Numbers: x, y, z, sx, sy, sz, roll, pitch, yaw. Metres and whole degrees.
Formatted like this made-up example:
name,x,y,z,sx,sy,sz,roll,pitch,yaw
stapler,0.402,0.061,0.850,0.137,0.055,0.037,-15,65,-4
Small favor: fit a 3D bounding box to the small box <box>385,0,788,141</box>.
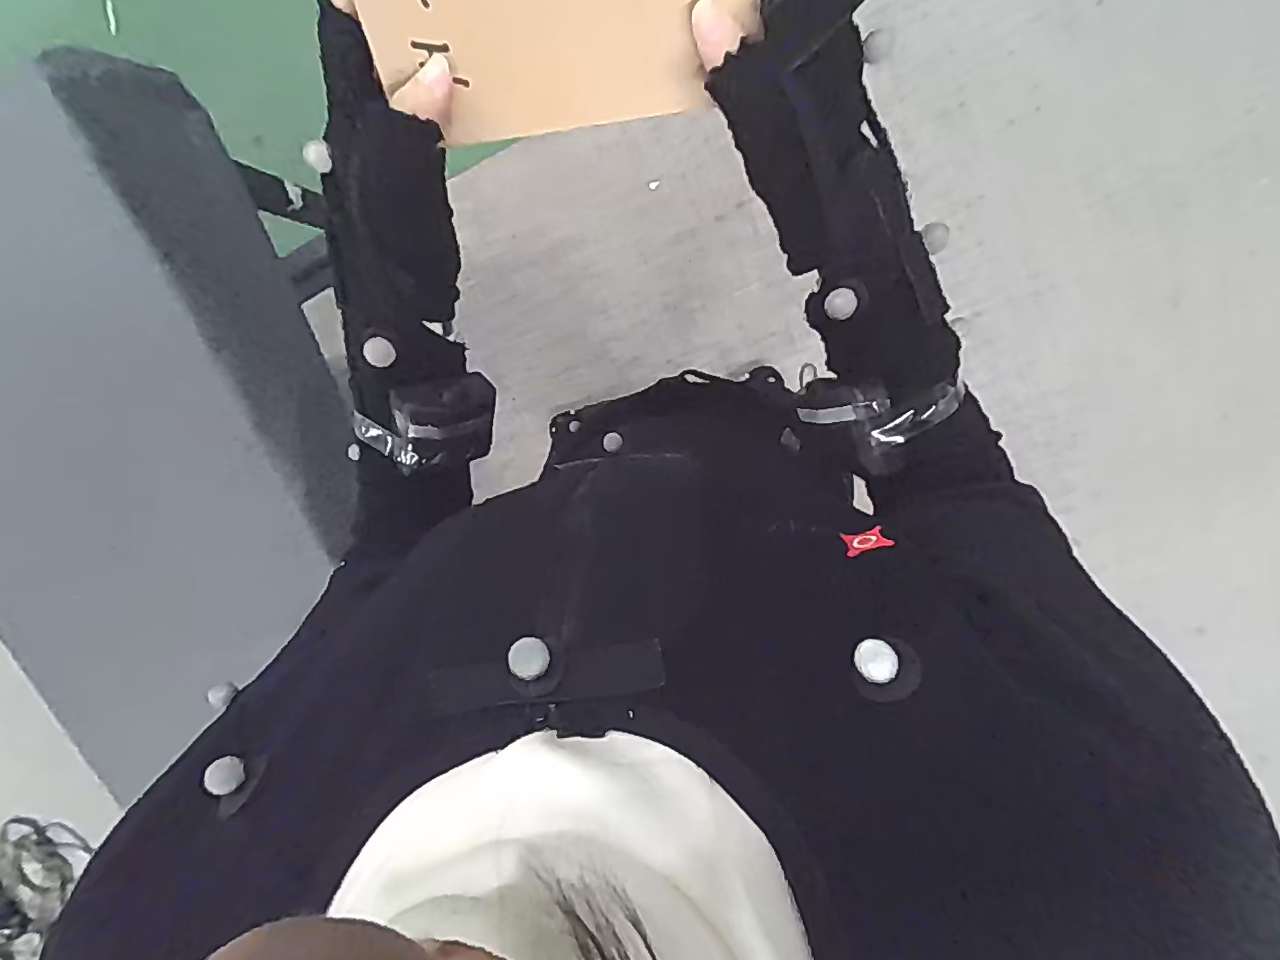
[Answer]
name,x,y,z,sx,sy,sz,roll,pitch,yaw
small box,-0.030,-0.288,0.267,0.179,0.176,0.168,-6,131,3
